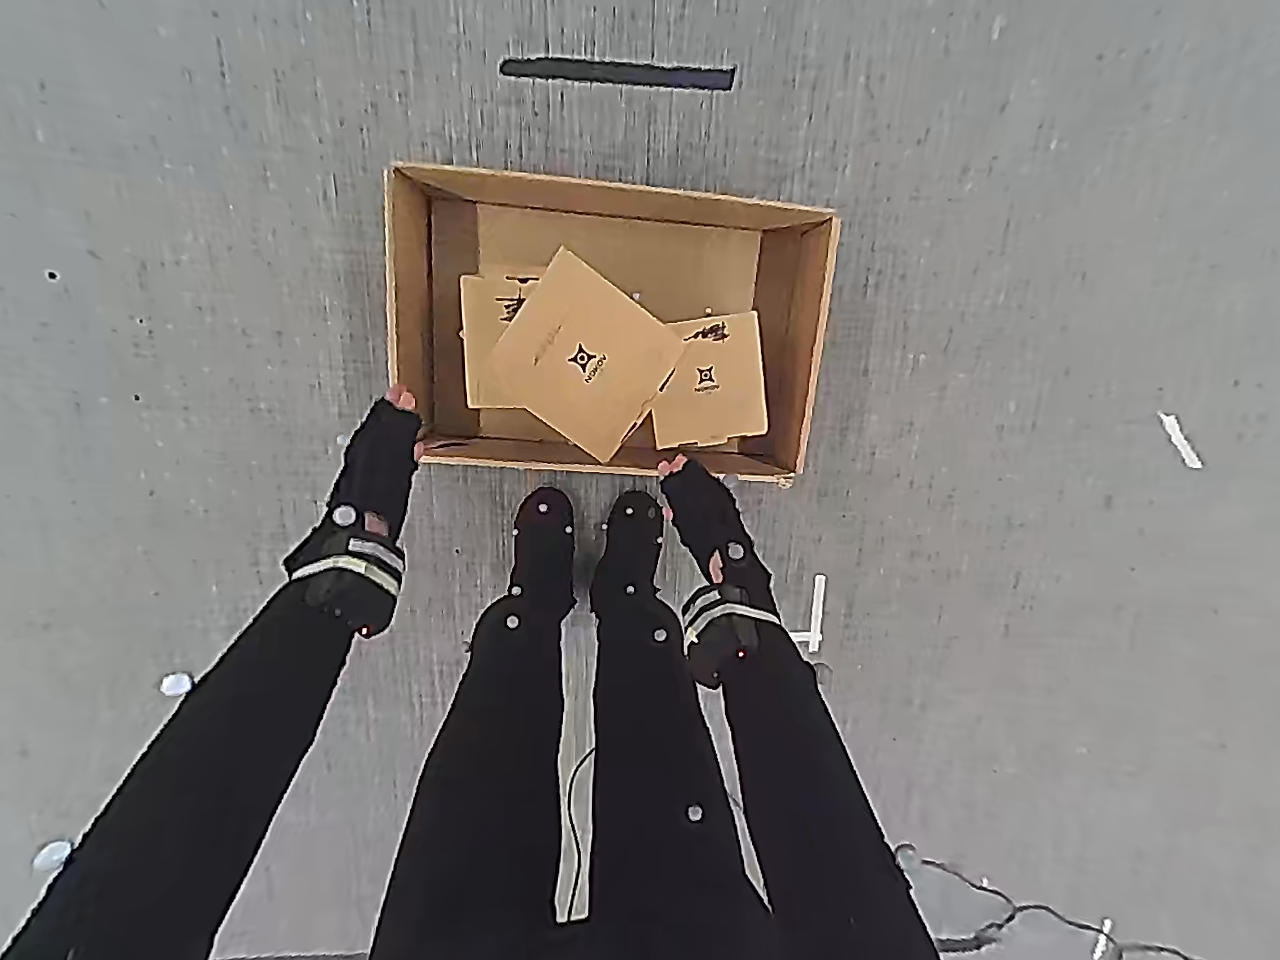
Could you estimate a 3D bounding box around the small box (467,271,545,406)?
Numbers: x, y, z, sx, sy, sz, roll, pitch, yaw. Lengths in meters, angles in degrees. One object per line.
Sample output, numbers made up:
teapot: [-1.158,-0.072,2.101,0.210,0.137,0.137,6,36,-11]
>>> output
small box: [-0.157,-0.206,0.809,0.168,0.176,0.179,0,104,-5]

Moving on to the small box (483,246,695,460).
small box: [-0.059,-0.151,0.663,0.179,0.176,0.168,35,97,-10]
